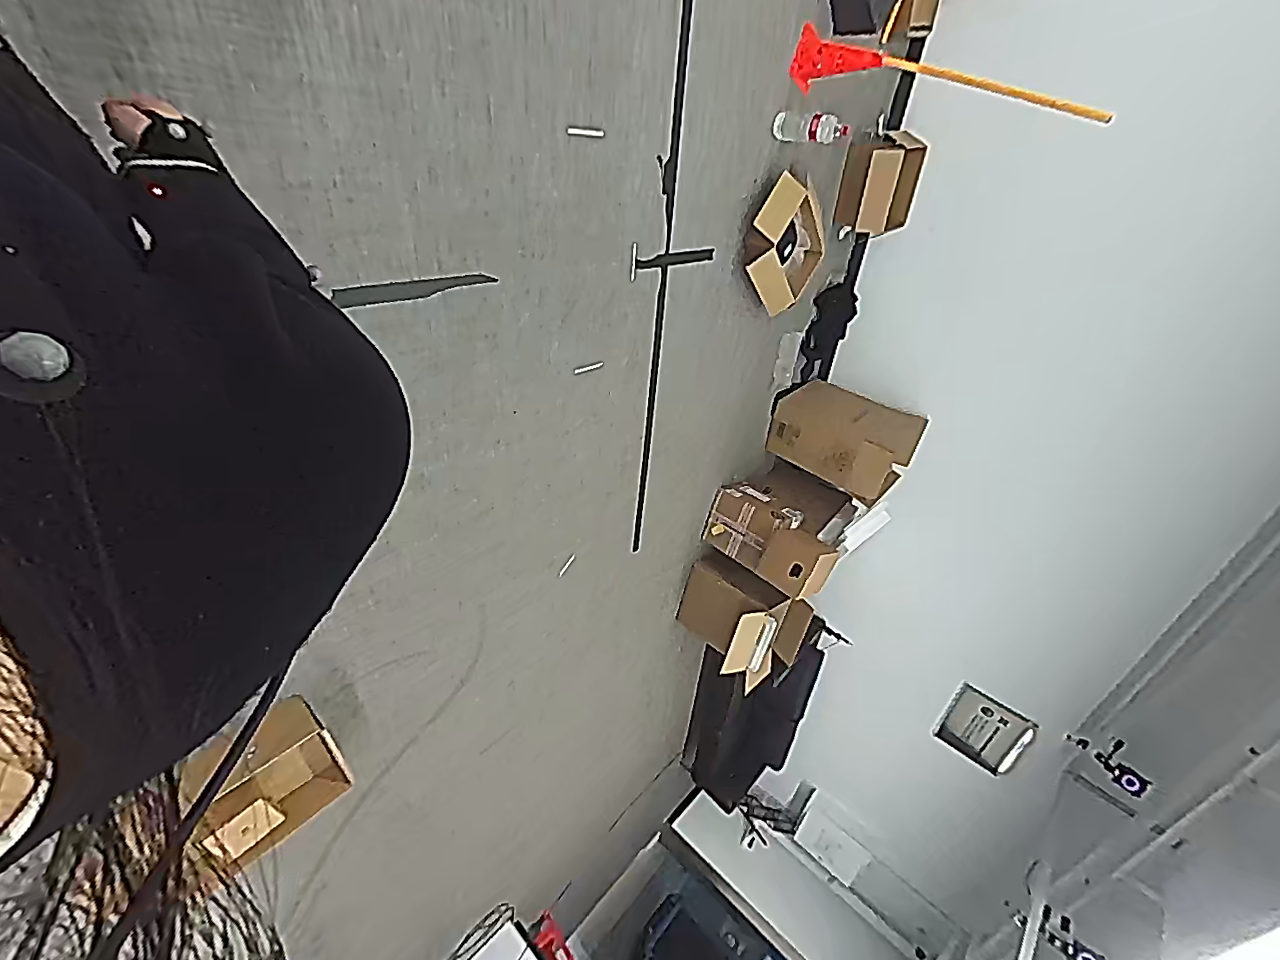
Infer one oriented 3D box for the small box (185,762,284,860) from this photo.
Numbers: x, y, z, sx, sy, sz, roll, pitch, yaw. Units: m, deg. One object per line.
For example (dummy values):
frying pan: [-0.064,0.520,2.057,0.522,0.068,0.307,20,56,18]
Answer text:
small box: [-1.260,1.024,1.683,0.168,0.176,0.179,-37,141,-34]
